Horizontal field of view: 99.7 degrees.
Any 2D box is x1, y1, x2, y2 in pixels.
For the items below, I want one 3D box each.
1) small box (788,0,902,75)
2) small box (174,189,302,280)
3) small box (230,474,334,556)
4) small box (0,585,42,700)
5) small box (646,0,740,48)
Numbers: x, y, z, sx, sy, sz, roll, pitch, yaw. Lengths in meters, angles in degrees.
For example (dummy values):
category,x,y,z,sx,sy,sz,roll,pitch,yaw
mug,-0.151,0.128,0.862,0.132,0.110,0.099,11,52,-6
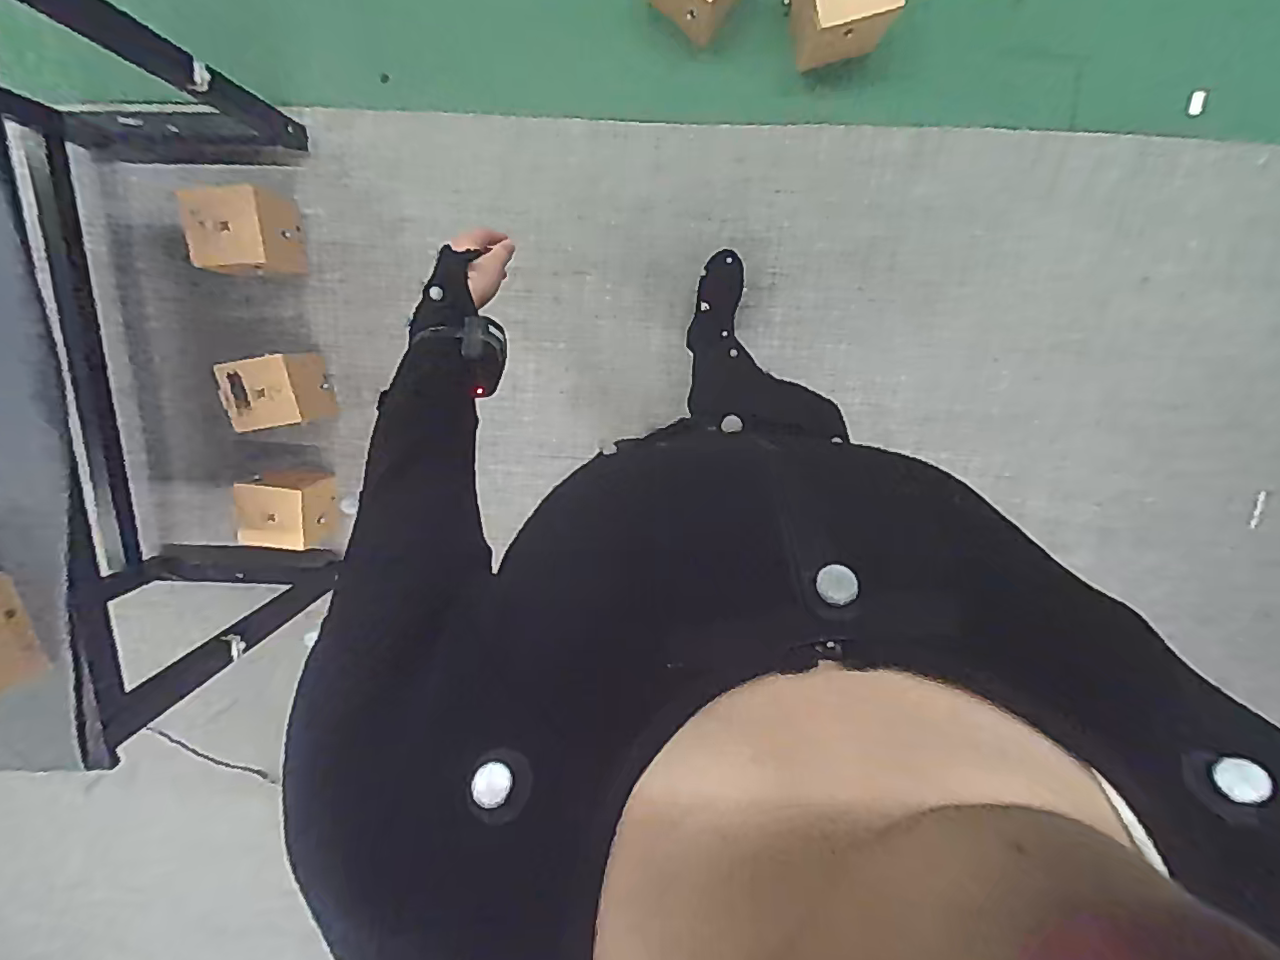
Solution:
category,x,y,z,sx,sy,sz,roll,pitch,yaw
small box,0.425,-1.005,1.147,0.179,0.176,0.168,-13,102,4
small box,-0.935,-0.574,1.281,0.179,0.176,0.168,-2,102,2
small box,-0.939,0.087,1.437,0.179,0.176,0.168,6,103,0
small box,-0.995,0.255,0.726,0.179,0.176,0.168,-10,102,4
small box,0.124,-1.071,1.141,0.179,0.176,0.168,36,100,-6
